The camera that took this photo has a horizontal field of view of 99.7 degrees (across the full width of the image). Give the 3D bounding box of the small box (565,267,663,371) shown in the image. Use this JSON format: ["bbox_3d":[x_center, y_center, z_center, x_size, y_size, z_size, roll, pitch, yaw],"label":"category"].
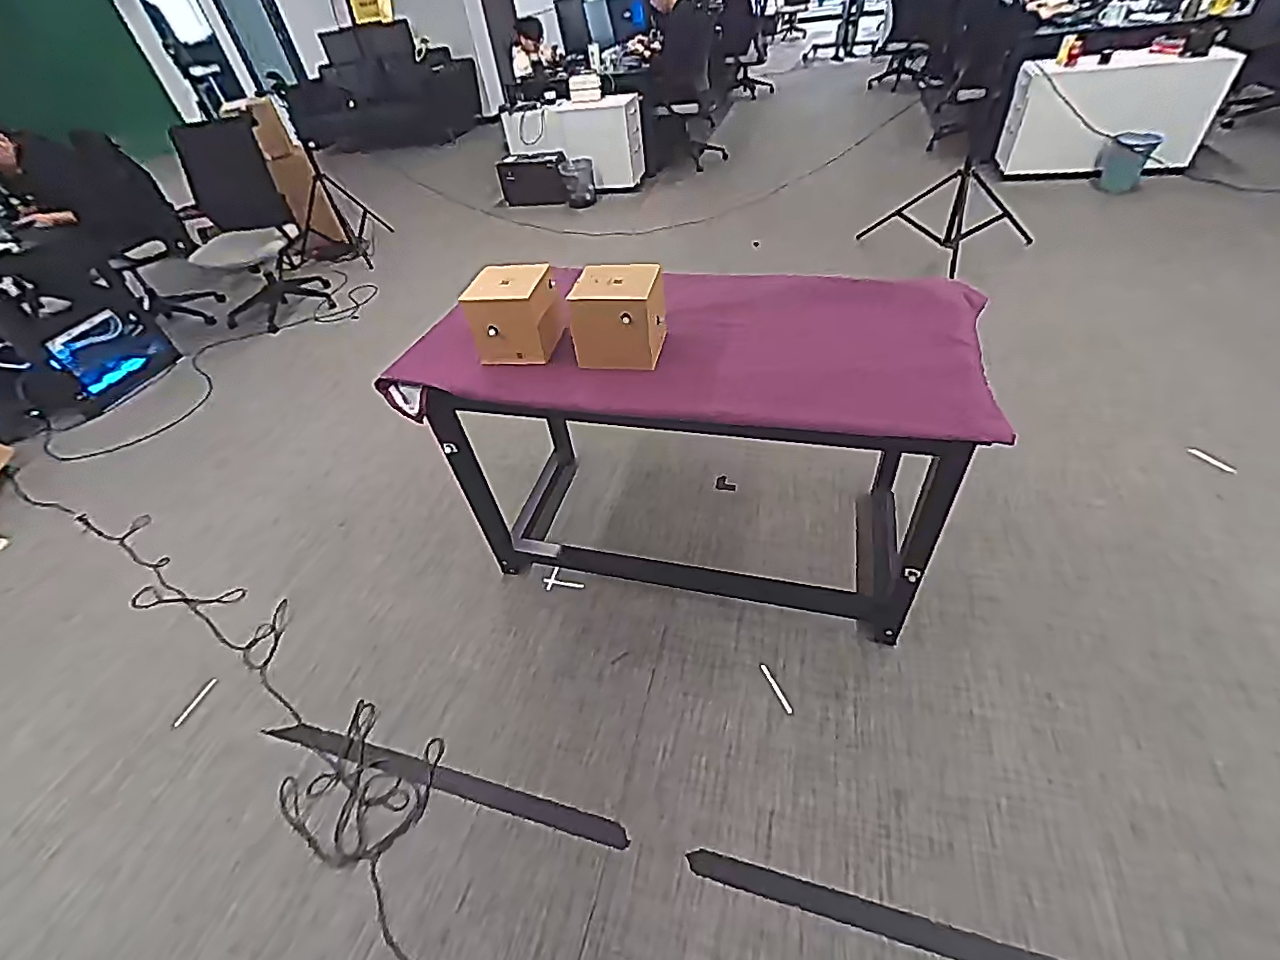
[{"bbox_3d":[-0.048,-0.357,1.205,0.179,0.176,0.168,4,44,12],"label":"small box"}]

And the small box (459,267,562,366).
[{"bbox_3d":[-0.294,-0.381,1.274,0.168,0.176,0.179,2,44,11],"label":"small box"}]
